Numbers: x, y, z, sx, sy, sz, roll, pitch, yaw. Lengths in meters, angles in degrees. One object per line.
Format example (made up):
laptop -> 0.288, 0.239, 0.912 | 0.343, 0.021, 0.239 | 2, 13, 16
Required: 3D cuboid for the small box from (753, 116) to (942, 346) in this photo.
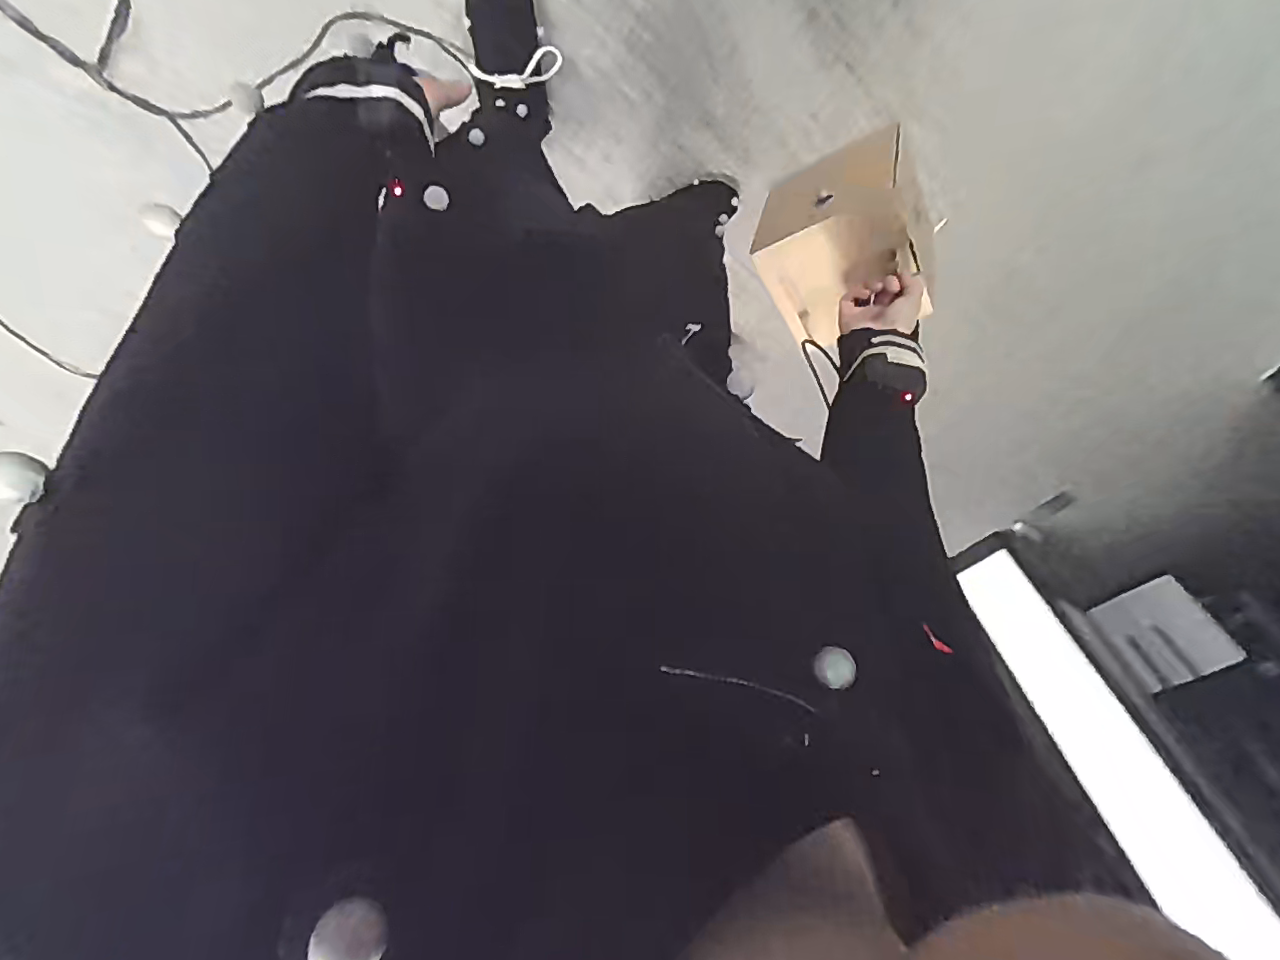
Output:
small box -> 0.257, -0.295, 0.669 | 0.176, 0.179, 0.168 | -12, 133, 37
